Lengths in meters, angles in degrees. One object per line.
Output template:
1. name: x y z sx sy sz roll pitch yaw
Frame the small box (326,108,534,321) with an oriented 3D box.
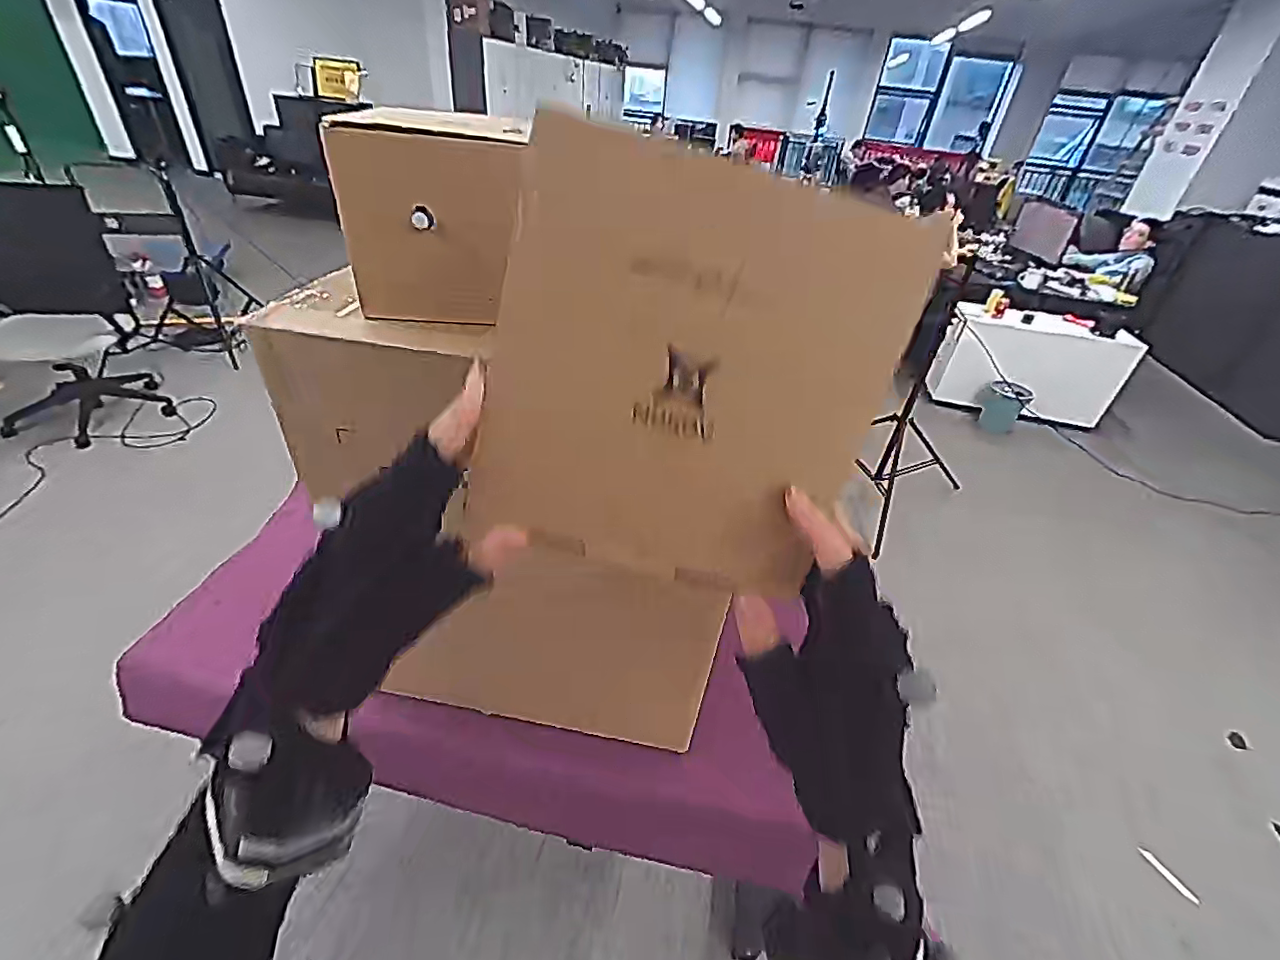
1. small box: -0.185 -0.275 0.563 0.179 0.176 0.168 1 38 -7

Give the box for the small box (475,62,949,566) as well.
1. small box: 0.025 -0.082 0.307 0.168 0.179 0.176 14 19 -3
